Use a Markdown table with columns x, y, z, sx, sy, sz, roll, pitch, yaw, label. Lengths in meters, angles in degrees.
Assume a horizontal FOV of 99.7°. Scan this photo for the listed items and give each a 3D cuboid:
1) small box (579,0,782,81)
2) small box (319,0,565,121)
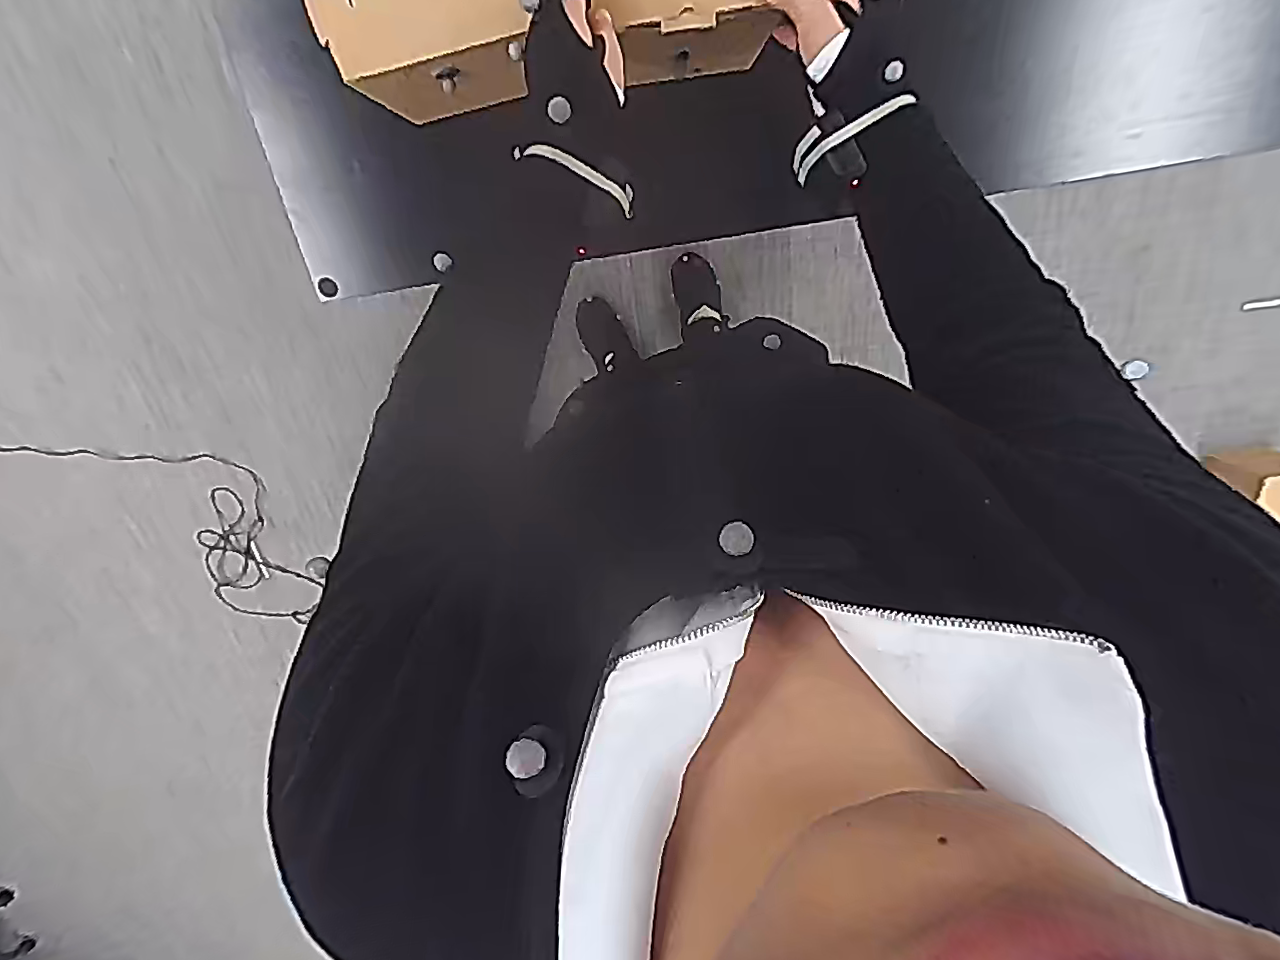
| x | y | z | sx | sy | sz | roll | pitch | yaw | label |
| --- | --- | --- | --- | --- | --- | --- | --- | --- | --- |
| 0.025 | -0.480 | 0.480 | 0.168 | 0.176 | 0.179 | -7 | 114 | 1 | small box |
| -0.179 | -0.453 | 0.491 | 0.179 | 0.176 | 0.168 | -13 | 113 | 4 | small box |
